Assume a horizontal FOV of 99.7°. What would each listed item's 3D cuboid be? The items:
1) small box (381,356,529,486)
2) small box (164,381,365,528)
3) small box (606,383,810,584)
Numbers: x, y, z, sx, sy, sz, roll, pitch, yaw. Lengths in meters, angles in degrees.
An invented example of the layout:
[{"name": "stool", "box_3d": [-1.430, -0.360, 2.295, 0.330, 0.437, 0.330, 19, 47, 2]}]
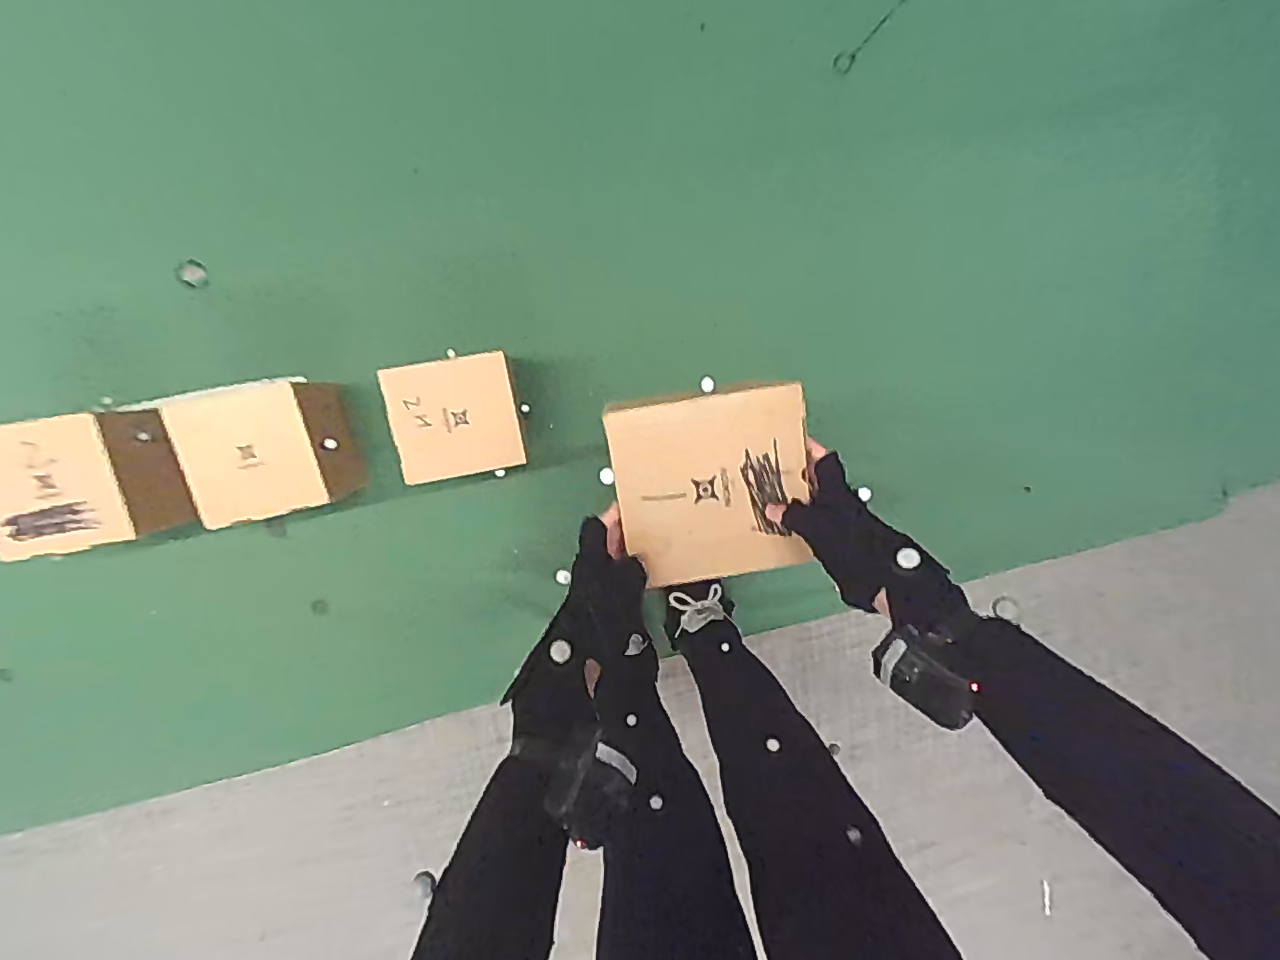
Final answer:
[{"name": "small box", "box_3d": [-0.273, -0.097, 0.842, 0.179, 0.176, 0.168, -10, 101, -8]}, {"name": "small box", "box_3d": [-0.541, -0.046, 0.809, 0.168, 0.176, 0.179, -13, 102, -7]}, {"name": "small box", "box_3d": [0.061, -0.009, 0.569, 0.179, 0.176, 0.168, -9, 101, -1]}]
